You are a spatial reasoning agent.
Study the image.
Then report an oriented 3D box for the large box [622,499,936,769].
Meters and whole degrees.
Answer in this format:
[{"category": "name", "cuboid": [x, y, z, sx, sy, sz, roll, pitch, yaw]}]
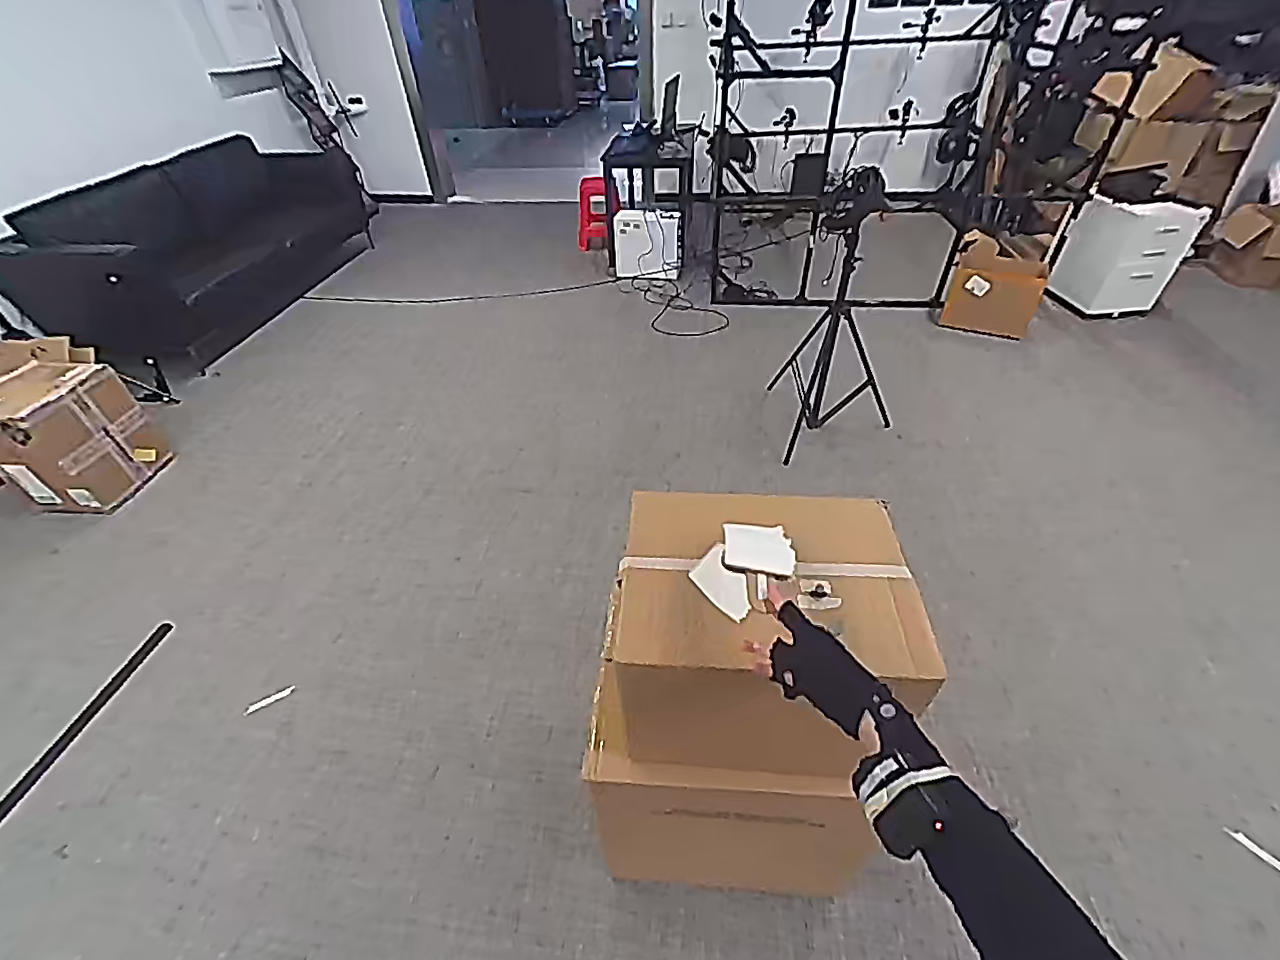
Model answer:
[{"category": "large box", "cuboid": [0.183, 0.249, 0.890, 0.408, 0.320, 0.320, 2, 42, 4]}]
